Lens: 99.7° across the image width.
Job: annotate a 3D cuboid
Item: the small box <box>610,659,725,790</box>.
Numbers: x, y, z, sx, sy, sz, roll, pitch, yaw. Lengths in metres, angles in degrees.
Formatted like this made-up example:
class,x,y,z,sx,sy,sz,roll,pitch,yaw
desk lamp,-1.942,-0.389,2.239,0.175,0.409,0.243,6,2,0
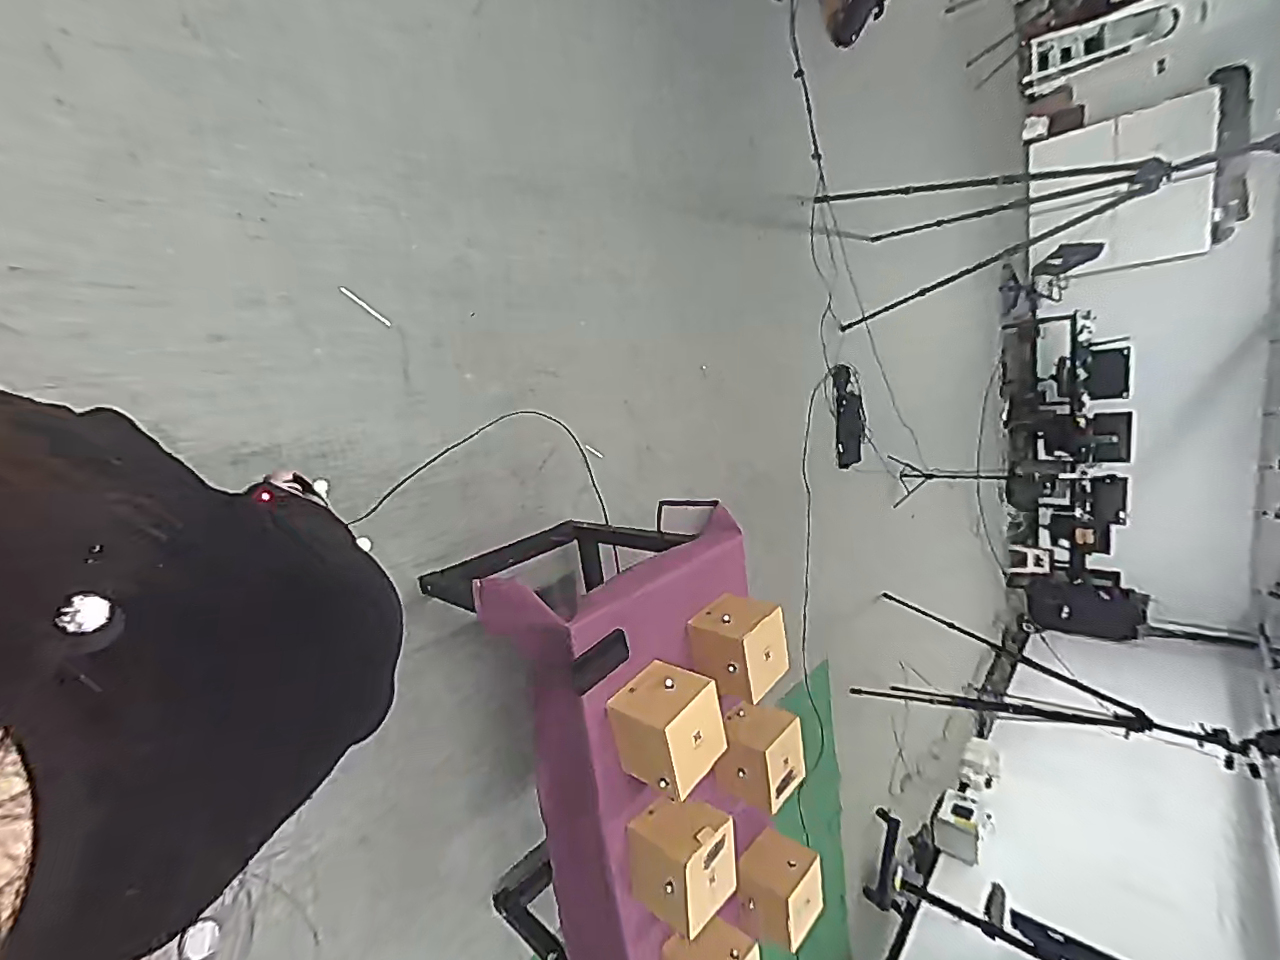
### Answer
class,x,y,z,sx,sy,sz,roll,pitch,yaw
small box,0.056,0.503,1.151,0.168,0.176,0.179,-27,112,-43

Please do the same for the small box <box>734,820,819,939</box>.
class,x,y,z,sx,sy,sz,roll,pitch,yaw
small box,0.383,1.104,1.514,0.179,0.176,0.168,-14,101,-44

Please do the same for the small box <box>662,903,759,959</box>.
class,x,y,z,sx,sy,sz,roll,pitch,yaw
small box,0.168,1.162,1.294,0.168,0.176,0.179,-10,99,-46

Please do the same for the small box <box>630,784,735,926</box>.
class,x,y,z,sx,sy,sz,roll,pitch,yaw
small box,0.092,0.811,1.200,0.168,0.176,0.179,-11,101,-45
